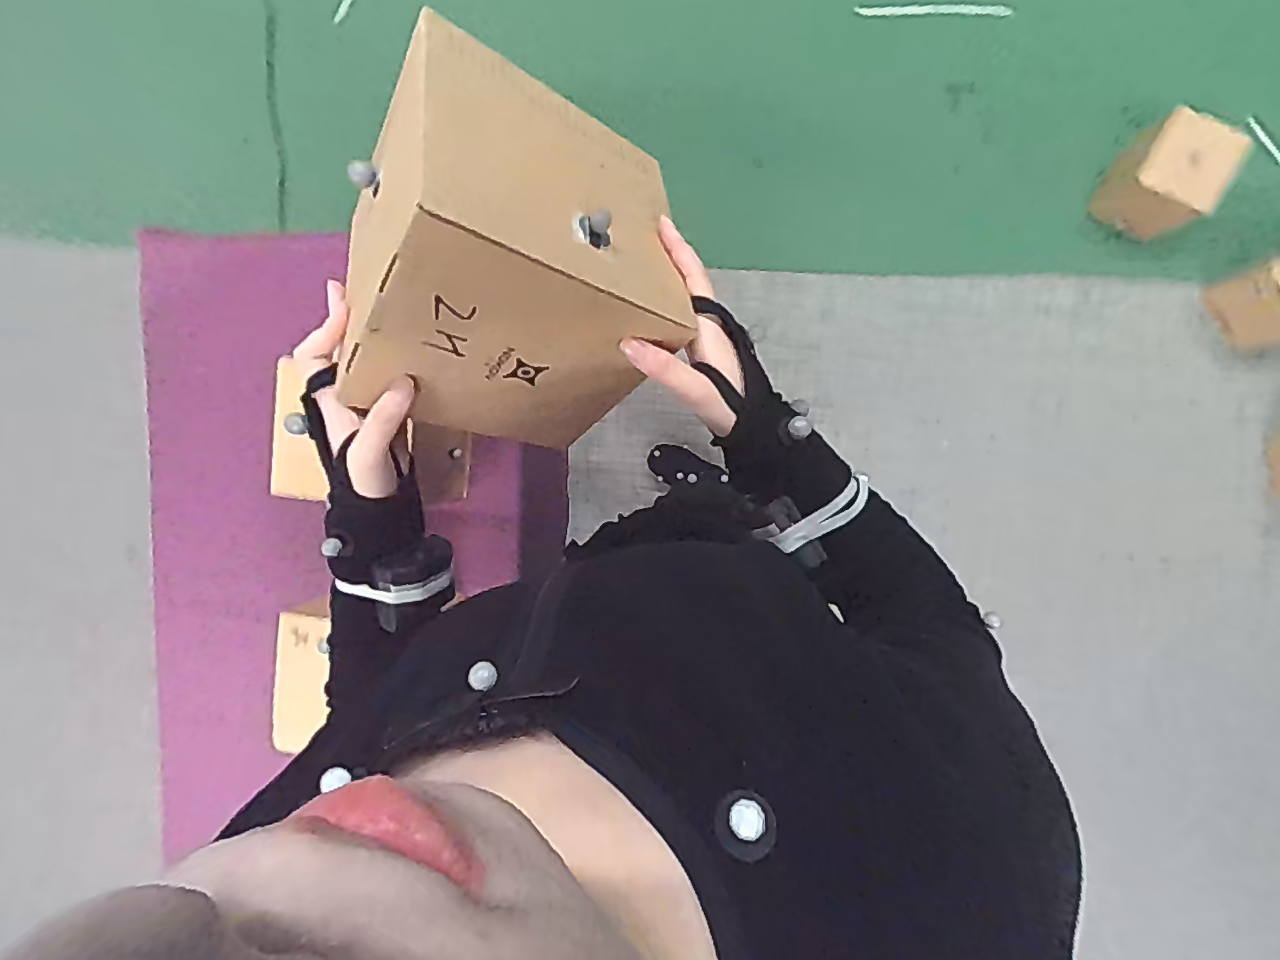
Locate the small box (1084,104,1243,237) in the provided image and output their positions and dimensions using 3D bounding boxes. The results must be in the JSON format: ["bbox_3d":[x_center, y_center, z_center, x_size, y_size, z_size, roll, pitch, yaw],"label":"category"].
[{"bbox_3d":[1.193,-0.705,1.251,0.168,0.176,0.179,29,95,5],"label":"small box"}]

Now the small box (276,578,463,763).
[{"bbox_3d":[-0.356,0.246,0.738,0.168,0.176,0.179,5,94,6],"label":"small box"}]

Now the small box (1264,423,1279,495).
[{"bbox_3d":[1.598,-0.054,1.234,0.168,0.176,0.179,-8,93,7],"label":"small box"}]

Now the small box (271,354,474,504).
[{"bbox_3d":[-0.345,-0.065,0.722,0.179,0.176,0.168,6,94,5],"label":"small box"}]
